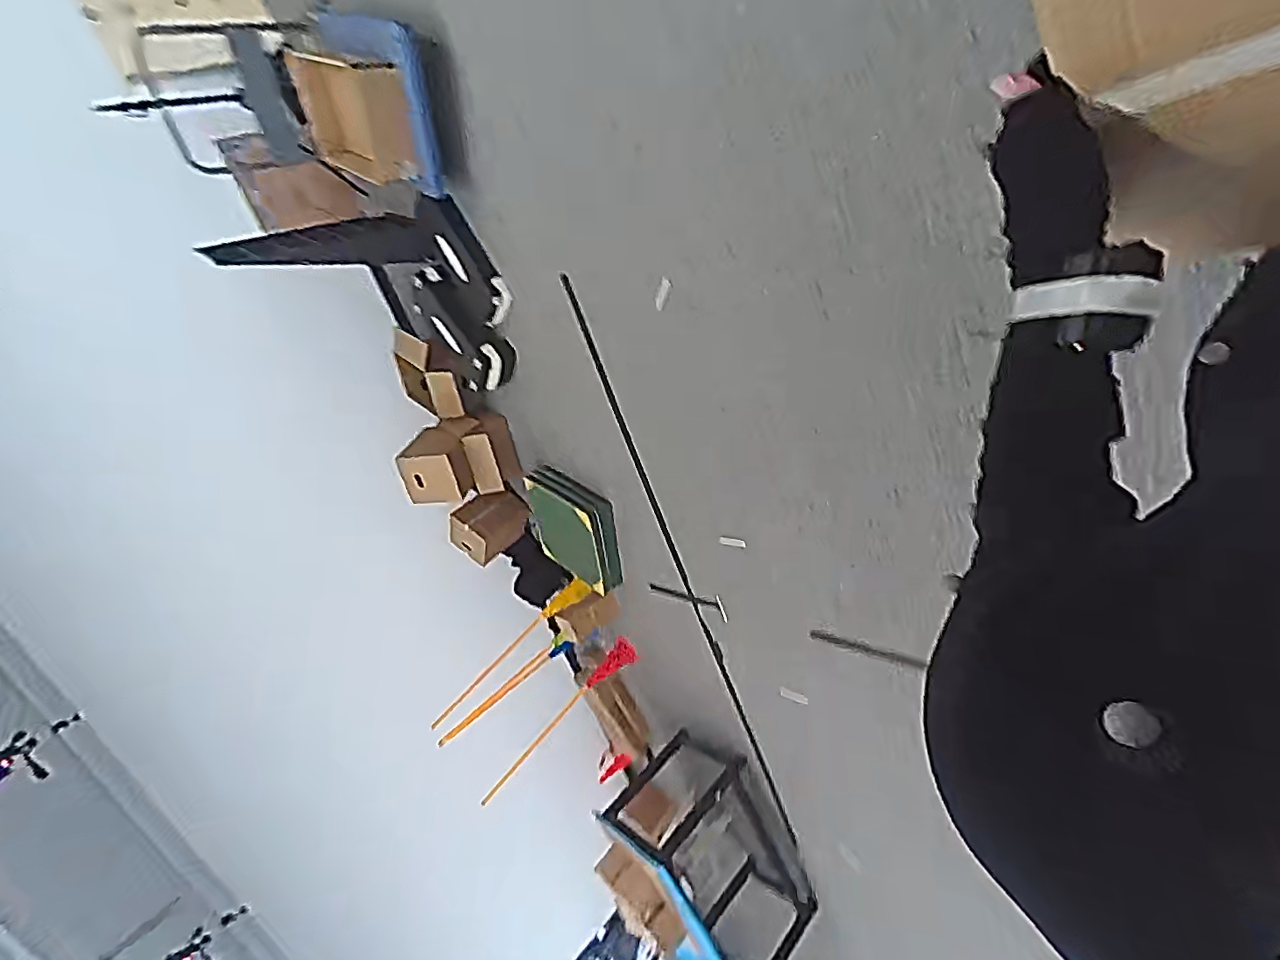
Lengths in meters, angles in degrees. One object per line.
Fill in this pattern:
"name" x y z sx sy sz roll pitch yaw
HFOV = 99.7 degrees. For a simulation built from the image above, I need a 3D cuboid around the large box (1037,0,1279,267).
"large box" 0.455 -0.350 0.220 0.320 0.320 0.408 29 168 -36
